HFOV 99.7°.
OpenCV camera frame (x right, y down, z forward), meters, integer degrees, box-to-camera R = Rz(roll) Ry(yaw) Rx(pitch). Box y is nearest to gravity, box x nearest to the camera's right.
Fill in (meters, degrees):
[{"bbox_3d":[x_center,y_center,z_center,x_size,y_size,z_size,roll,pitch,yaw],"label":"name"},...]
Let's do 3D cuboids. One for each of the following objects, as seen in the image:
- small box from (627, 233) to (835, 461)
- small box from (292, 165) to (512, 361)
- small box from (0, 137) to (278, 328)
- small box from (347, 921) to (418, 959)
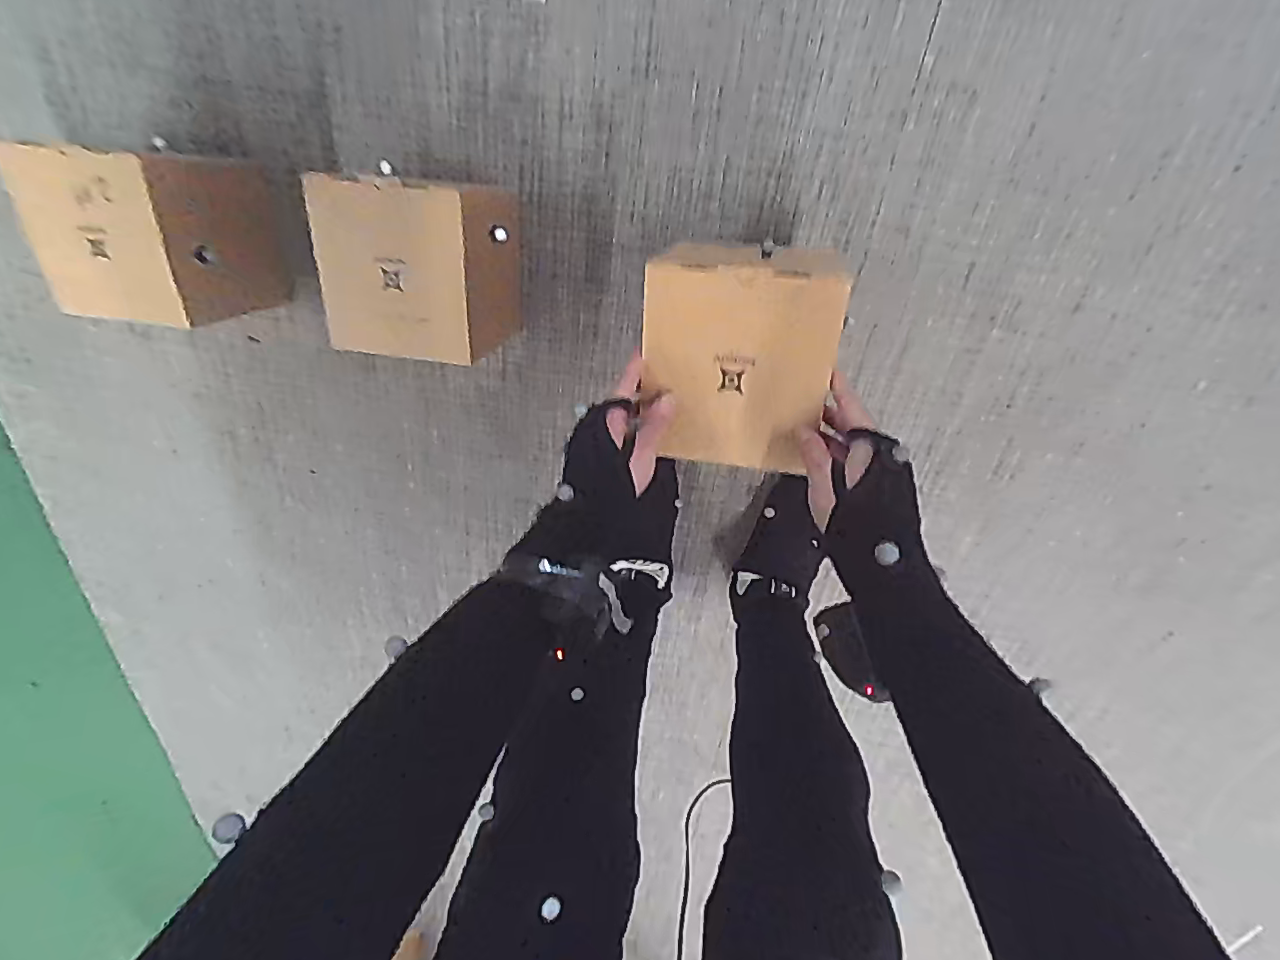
[{"bbox_3d":[0.089,-0.141,0.538,0.168,0.176,0.179,8,119,11],"label":"small box"},{"bbox_3d":[-0.255,-0.254,0.627,0.168,0.176,0.179,8,119,5],"label":"small box"},{"bbox_3d":[-0.580,-0.298,0.651,0.168,0.176,0.179,8,118,4],"label":"small box"},{"bbox_3d":[-0.781,1.466,1.620,0.179,0.176,0.168,11,118,2],"label":"small box"}]
